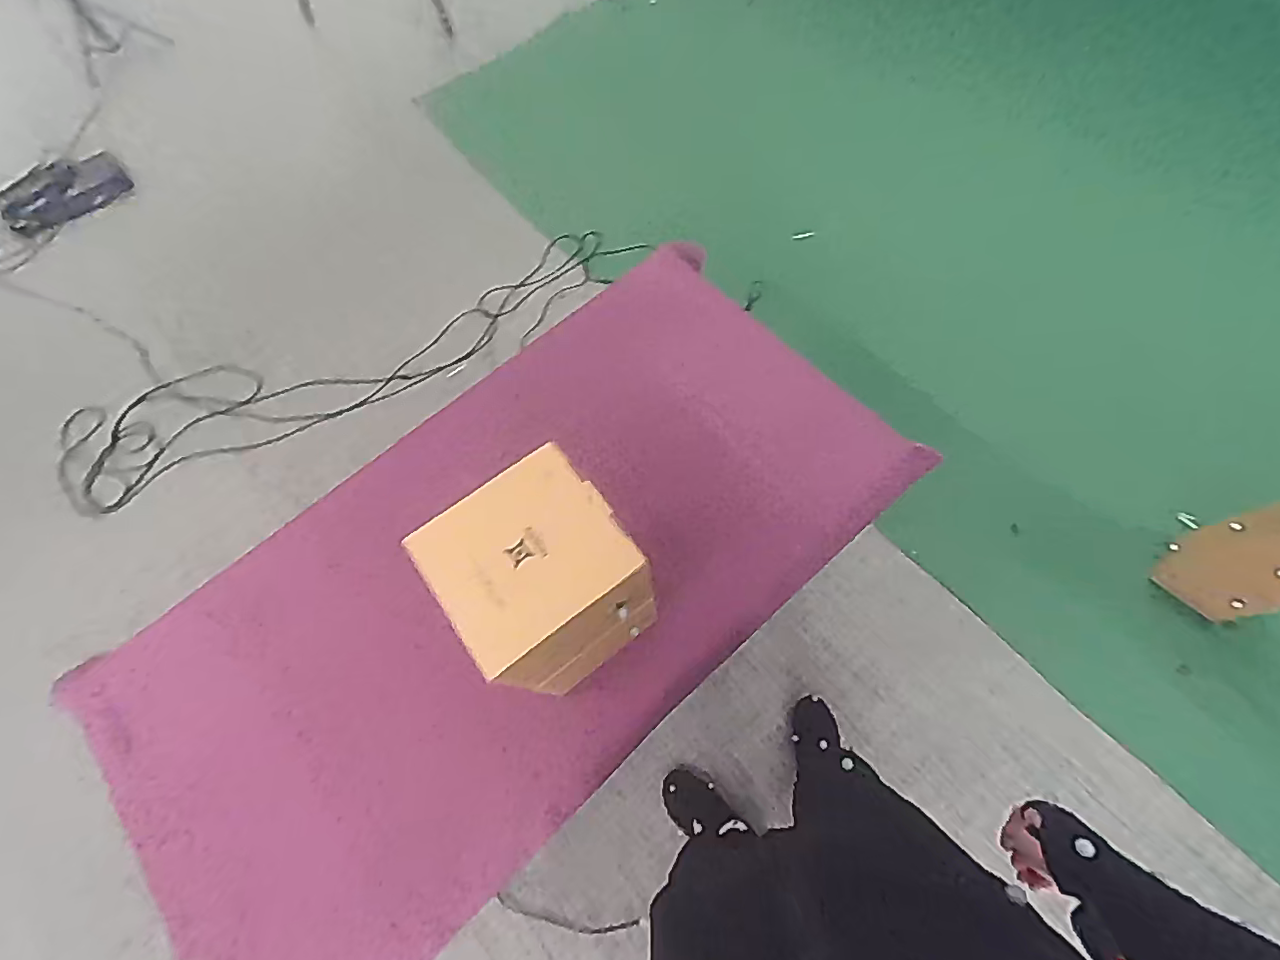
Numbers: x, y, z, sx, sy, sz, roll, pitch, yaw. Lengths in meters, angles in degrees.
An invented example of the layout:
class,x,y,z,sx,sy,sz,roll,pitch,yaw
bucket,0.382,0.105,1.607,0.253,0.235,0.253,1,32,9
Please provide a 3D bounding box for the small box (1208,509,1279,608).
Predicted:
class,x,y,z,sx,sy,sz,roll,pitch,yaw
small box,1.490,0.176,1.233,0.168,0.176,0.179,-42,70,-13

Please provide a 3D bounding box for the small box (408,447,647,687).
class,x,y,z,sx,sy,sz,roll,pitch,yaw
small box,-0.107,0.102,0.586,0.179,0.176,0.168,-36,68,-11

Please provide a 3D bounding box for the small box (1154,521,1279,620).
class,x,y,z,sx,sy,sz,roll,pitch,yaw
small box,1.500,0.239,1.382,0.168,0.176,0.179,-43,71,-14
